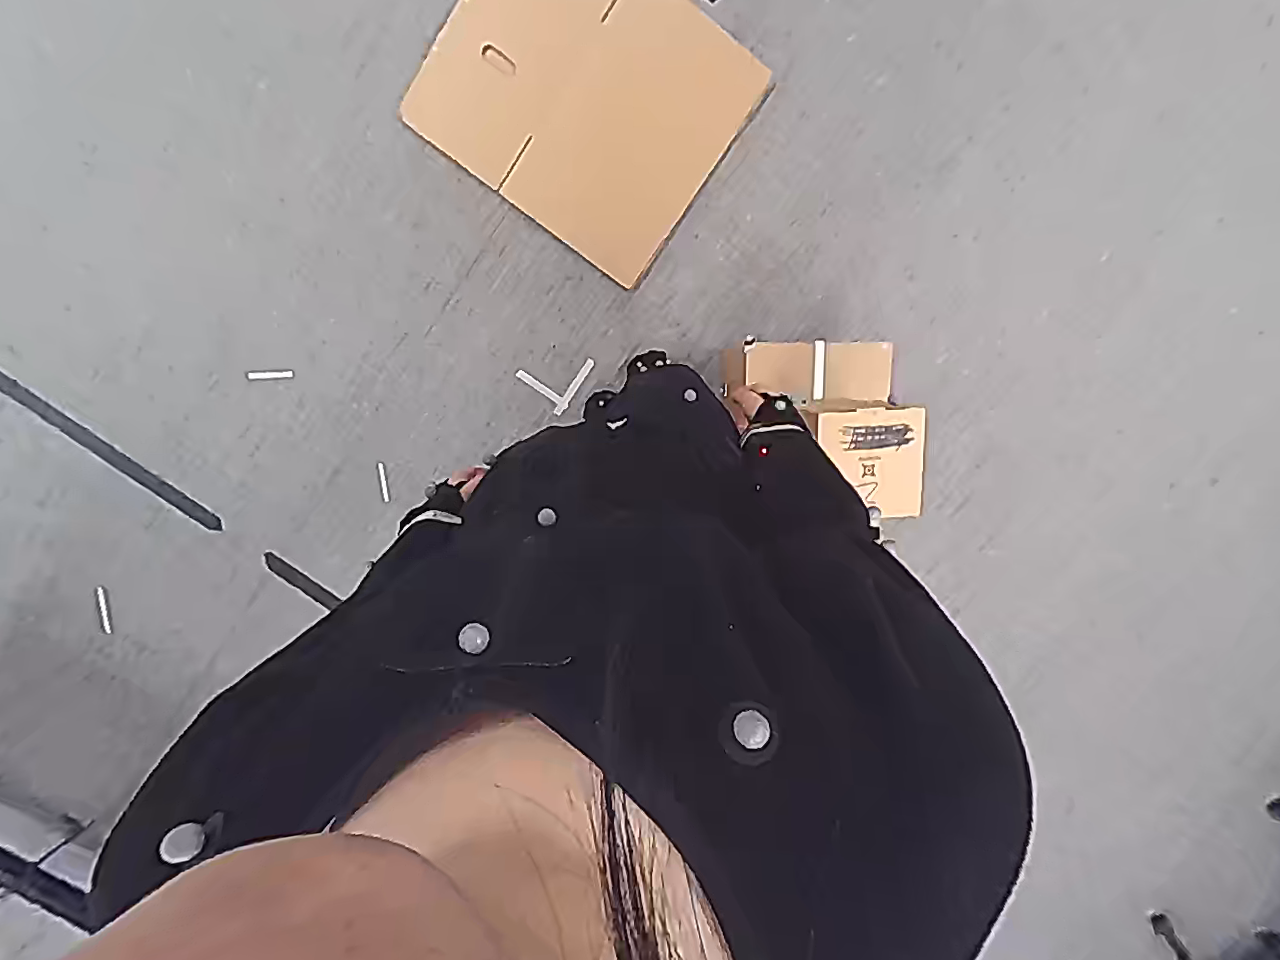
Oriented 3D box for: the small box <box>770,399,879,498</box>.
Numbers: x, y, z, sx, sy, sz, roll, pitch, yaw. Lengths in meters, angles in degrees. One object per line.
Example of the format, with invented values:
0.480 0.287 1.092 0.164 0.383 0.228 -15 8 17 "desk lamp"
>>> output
0.360 -0.071 1.082 0.168 0.176 0.179 -3 103 1 "small box"
